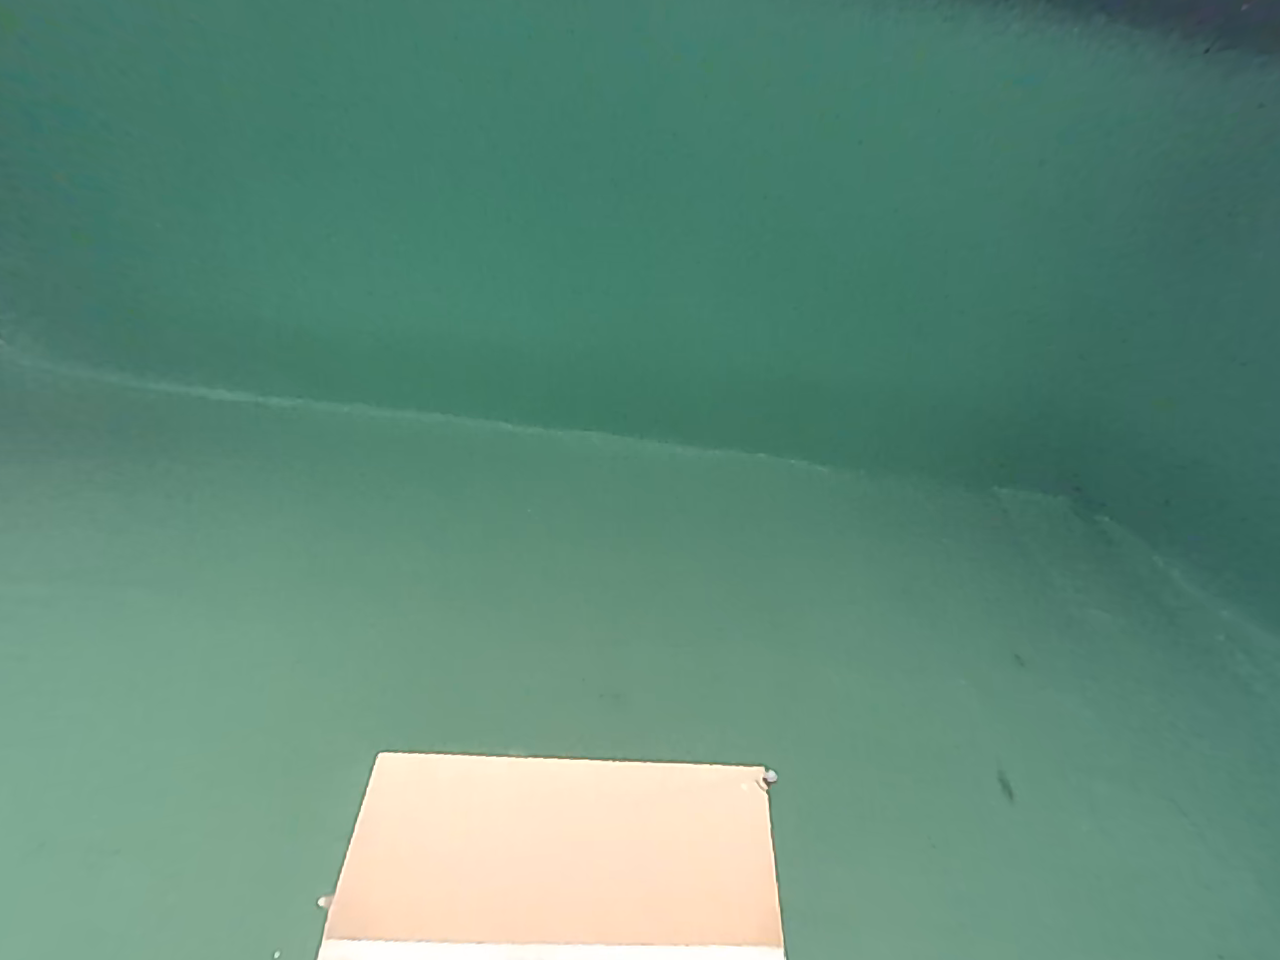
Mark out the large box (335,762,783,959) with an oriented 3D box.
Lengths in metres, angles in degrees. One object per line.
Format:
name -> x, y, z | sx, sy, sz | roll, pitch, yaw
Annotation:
large box -> -0.081, 0.517, 0.592 | 0.408, 0.320, 0.320 | 4, 52, -4
